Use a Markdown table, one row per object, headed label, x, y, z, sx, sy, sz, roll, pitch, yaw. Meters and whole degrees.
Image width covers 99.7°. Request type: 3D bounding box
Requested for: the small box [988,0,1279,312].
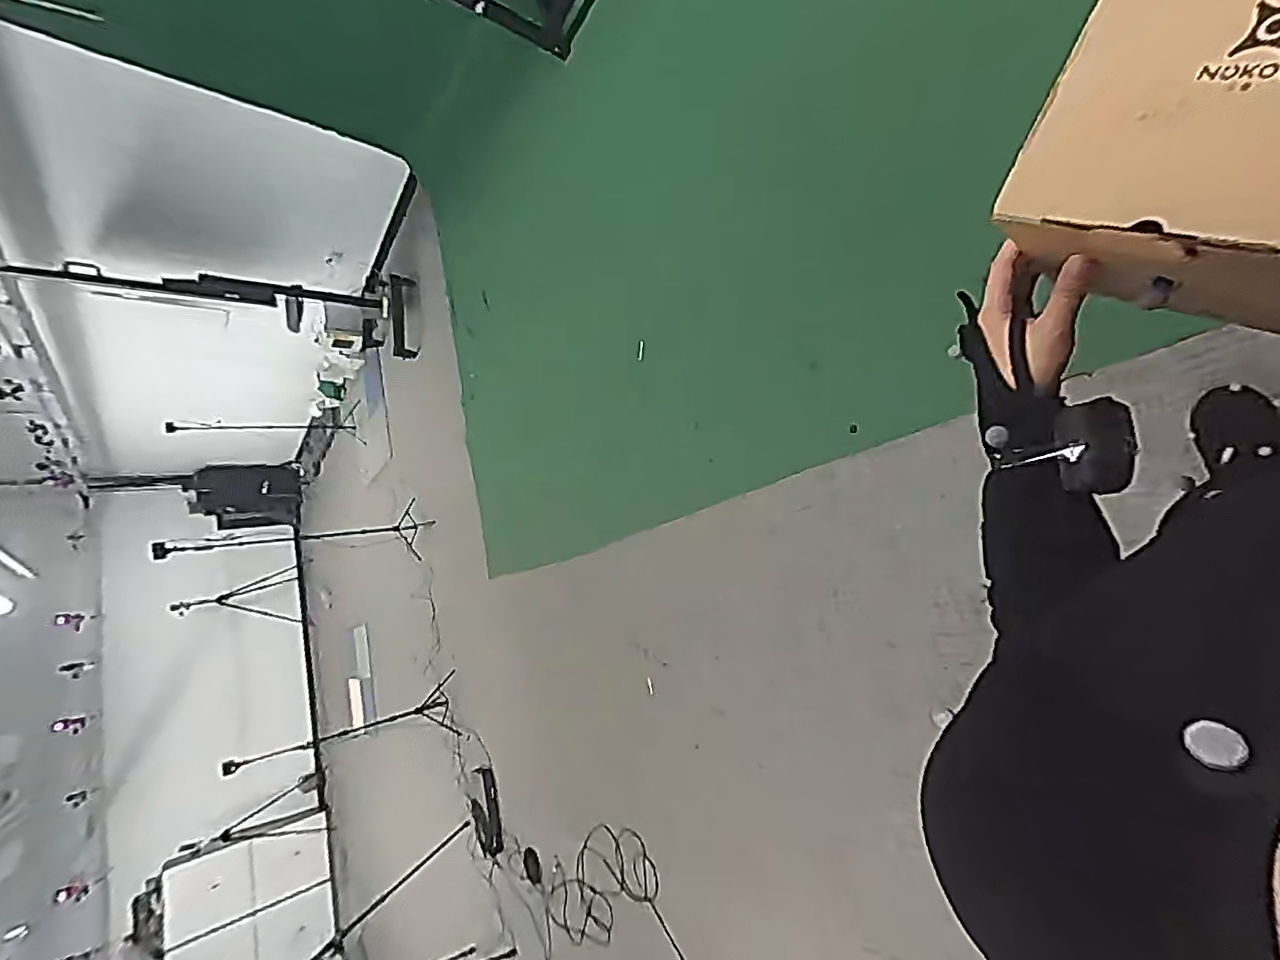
| label | x | y | z | sx | sy | sz | roll | pitch | yaw |
| --- | --- | --- | --- | --- | --- | --- | --- | --- | --- |
| small box | 0.359 | -0.214 | 0.321 | 0.168 | 0.176 | 0.179 | 39 | 118 | 42 |
